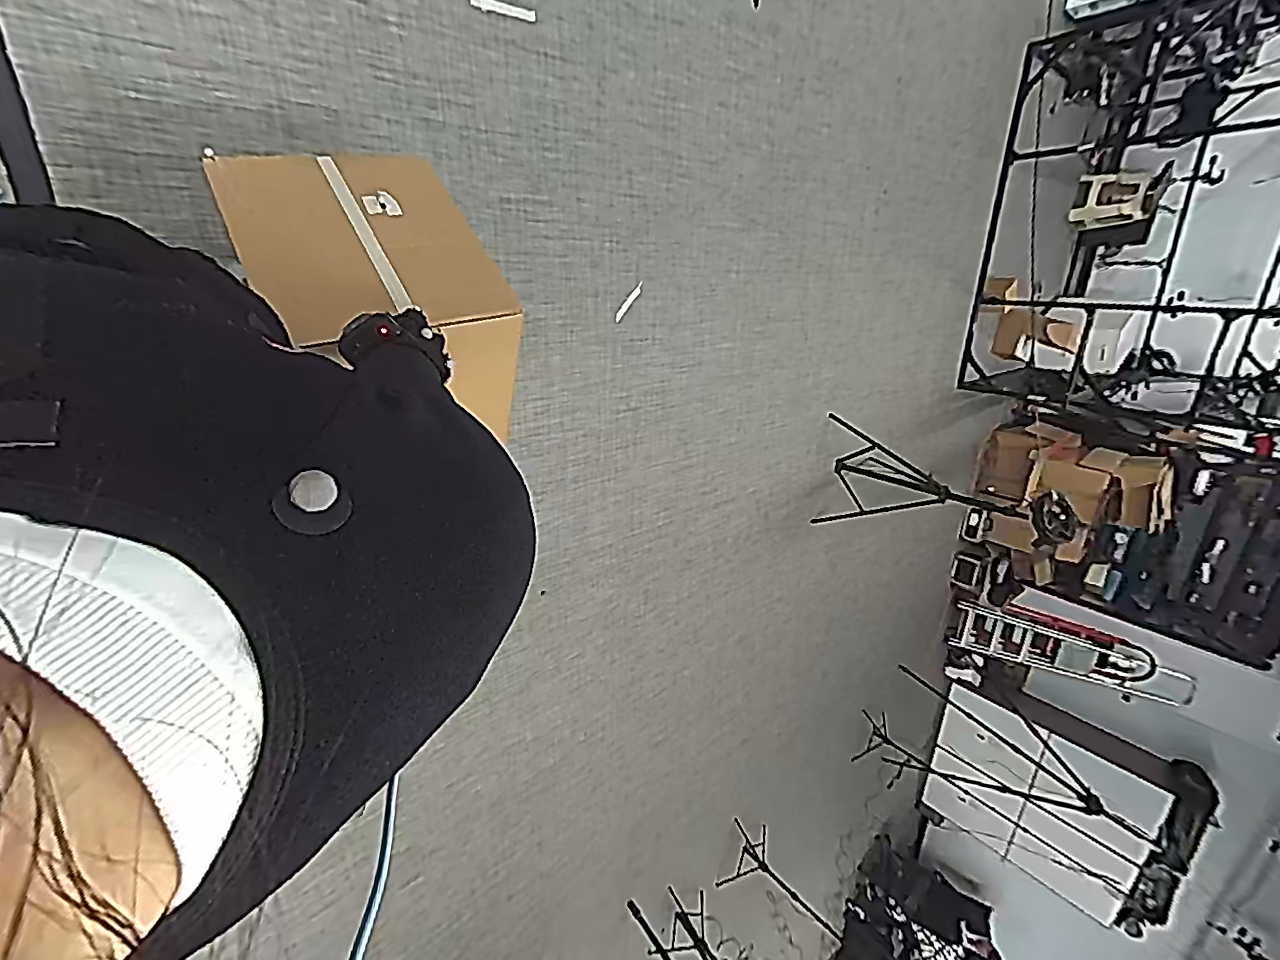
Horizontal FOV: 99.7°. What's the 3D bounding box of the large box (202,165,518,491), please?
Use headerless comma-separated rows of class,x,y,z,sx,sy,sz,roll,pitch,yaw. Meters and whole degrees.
large box,-0.443,-0.257,0.899,0.320,0.408,0.320,-21,154,-32
